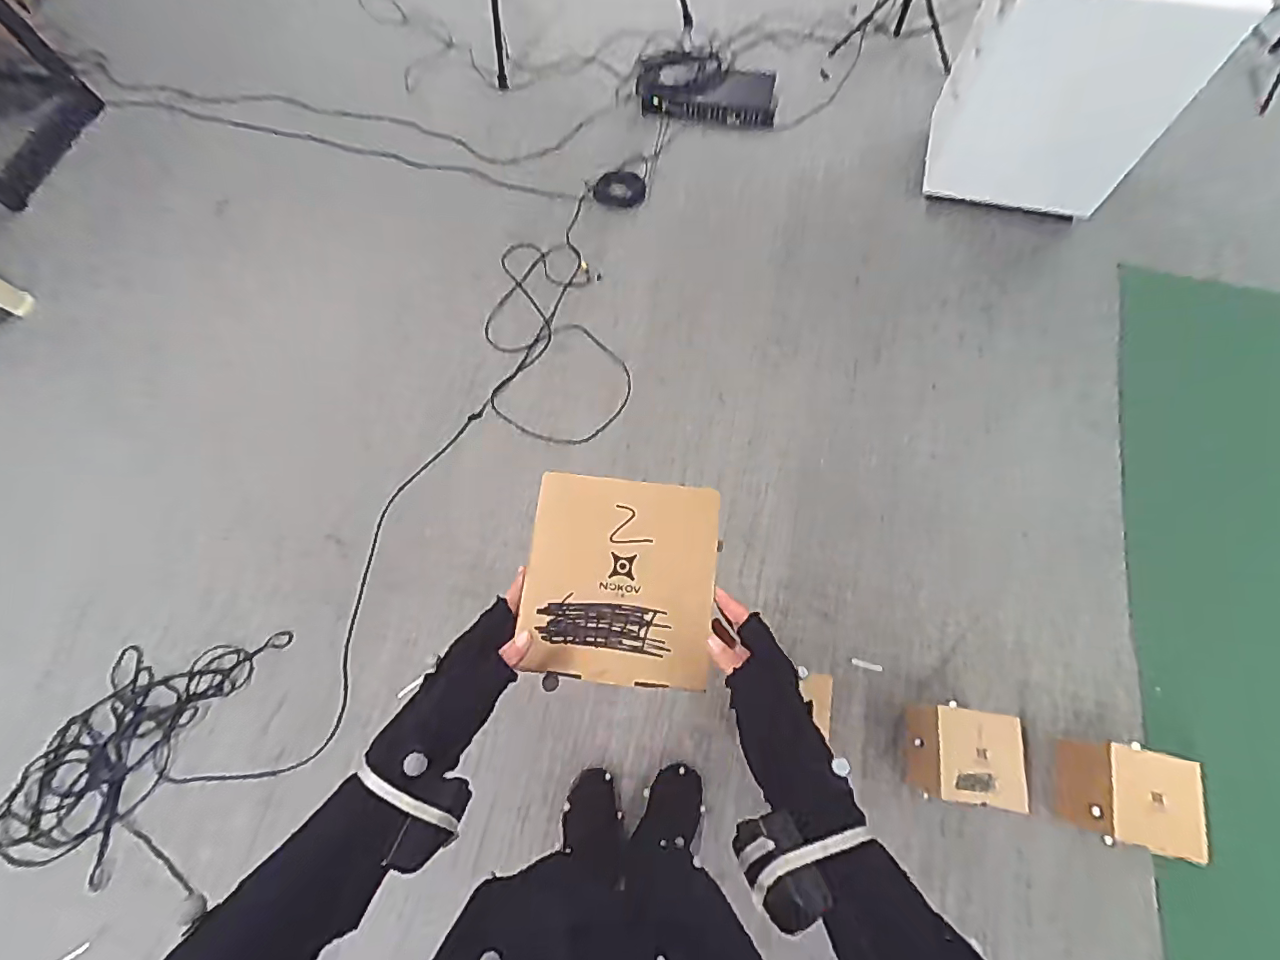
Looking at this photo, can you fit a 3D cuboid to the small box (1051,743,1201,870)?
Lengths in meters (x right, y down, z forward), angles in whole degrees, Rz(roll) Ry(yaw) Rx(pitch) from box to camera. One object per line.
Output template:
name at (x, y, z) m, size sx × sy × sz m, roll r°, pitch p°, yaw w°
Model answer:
small box at (0.988, 0.659, 1.117) m, size 0.168 × 0.176 × 0.179 m, roll 13°, pitch 70°, yaw 8°

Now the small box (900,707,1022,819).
small box at (0.673, 0.592, 1.152) m, size 0.168 × 0.176 × 0.179 m, roll 8°, pitch 68°, yaw 5°

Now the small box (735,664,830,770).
small box at (0.307, 0.516, 1.192) m, size 0.168 × 0.176 × 0.179 m, roll 10°, pitch 69°, yaw 7°
